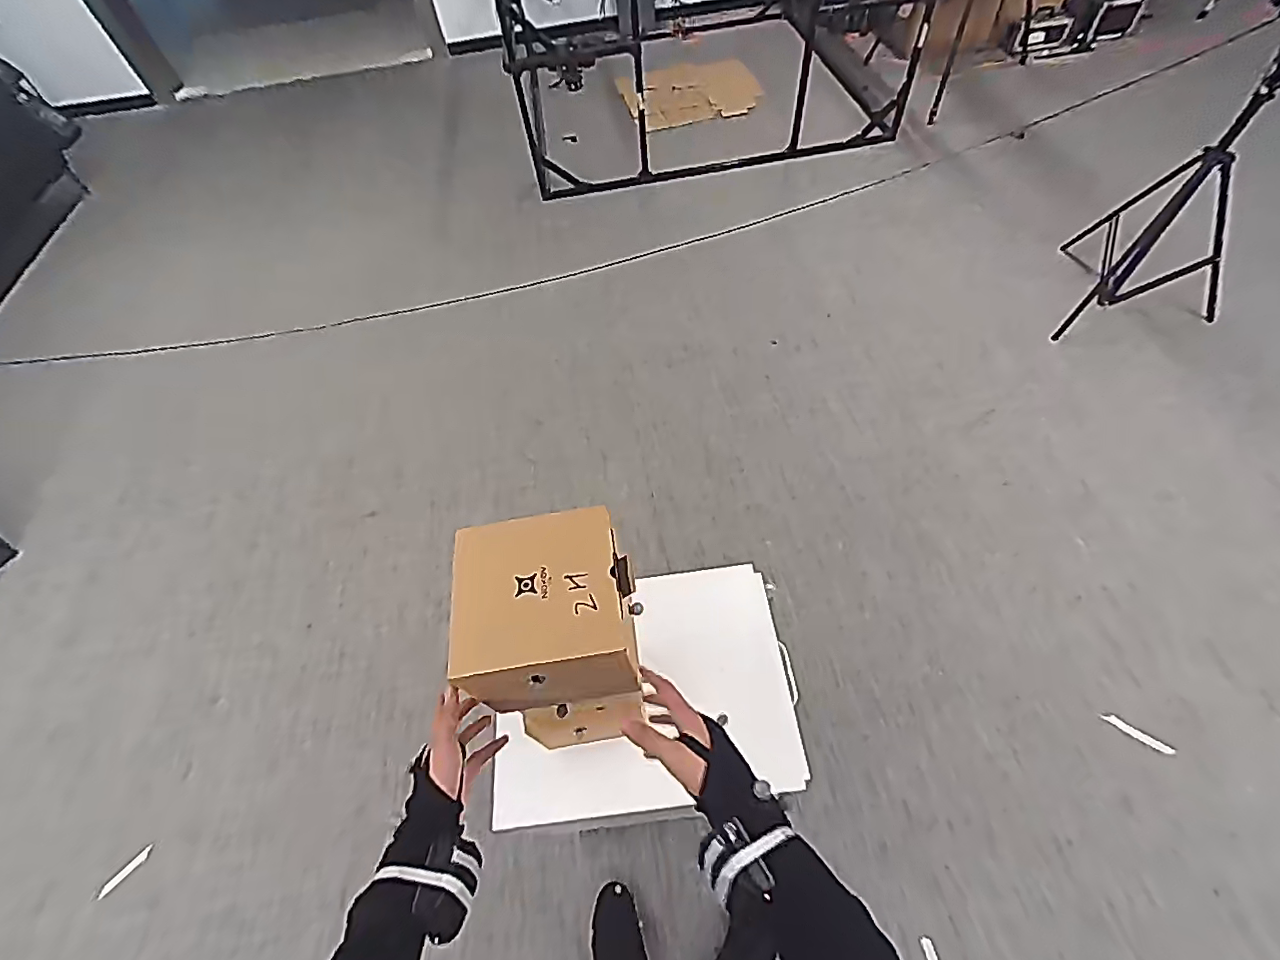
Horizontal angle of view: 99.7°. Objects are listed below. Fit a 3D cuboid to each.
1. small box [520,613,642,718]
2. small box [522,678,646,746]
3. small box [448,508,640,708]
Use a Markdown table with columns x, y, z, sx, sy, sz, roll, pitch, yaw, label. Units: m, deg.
| x | y | z | sx | sy | sz | roll | pitch | yaw | label |
| --- | --- | --- | --- | --- | --- | --- | --- | --- | --- |
| -0.092 | 0.231 | 0.775 | 0.168 | 0.176 | 0.179 | -8 | 55 | -1 | small box |
| -0.090 | 0.333 | 0.902 | 0.179 | 0.176 | 0.168 | -9 | 56 | -1 | small box |
| -0.101 | 0.154 | 0.628 | 0.179 | 0.176 | 0.168 | -8 | 56 | -1 | small box |
